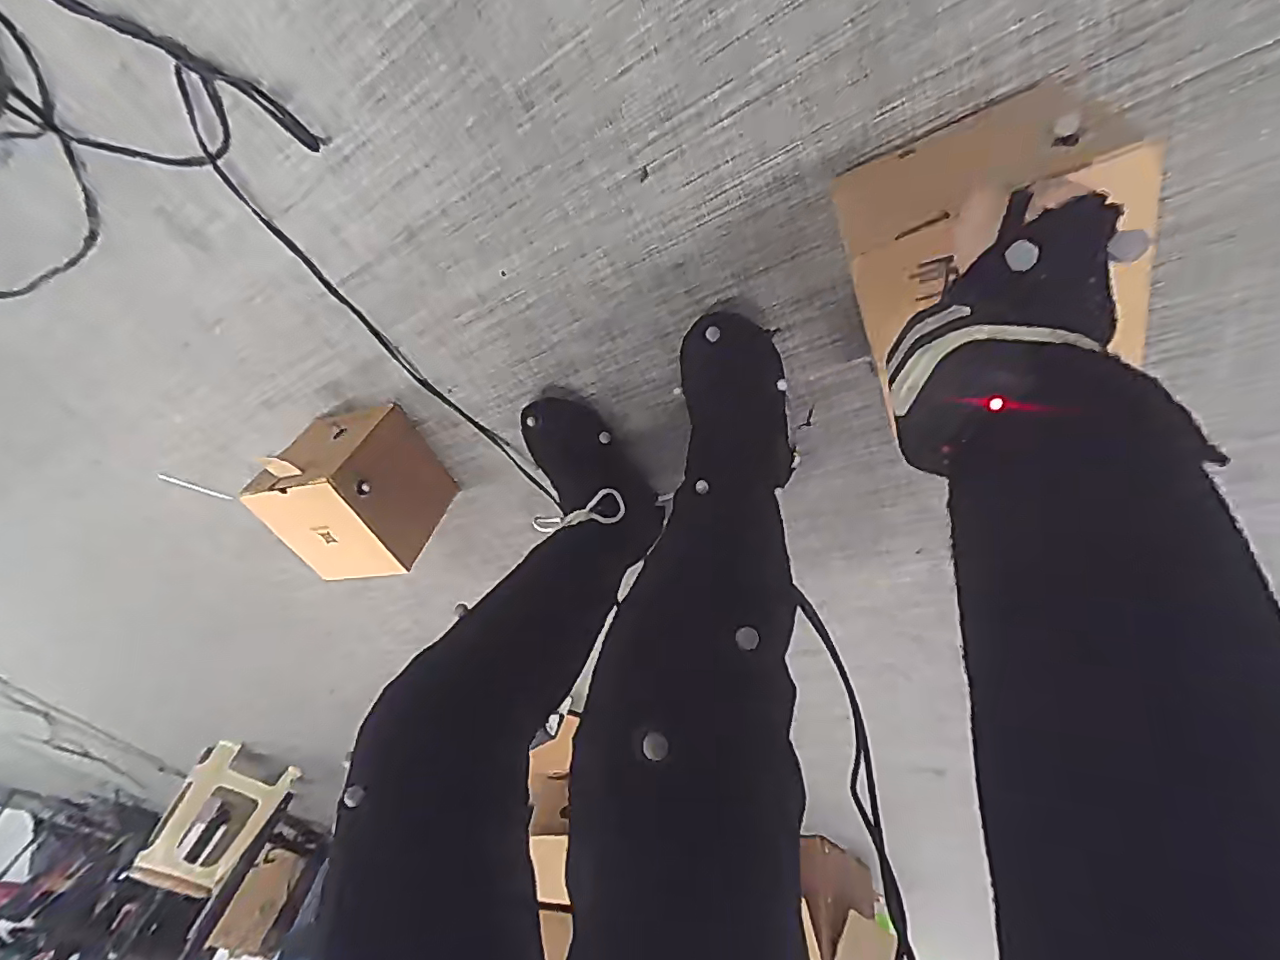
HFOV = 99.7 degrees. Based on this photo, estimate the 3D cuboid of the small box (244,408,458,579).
[{"bbox_3d":[-0.398,0.022,0.781,0.168,0.176,0.179,-7,128,21],"label":"small box"}]
